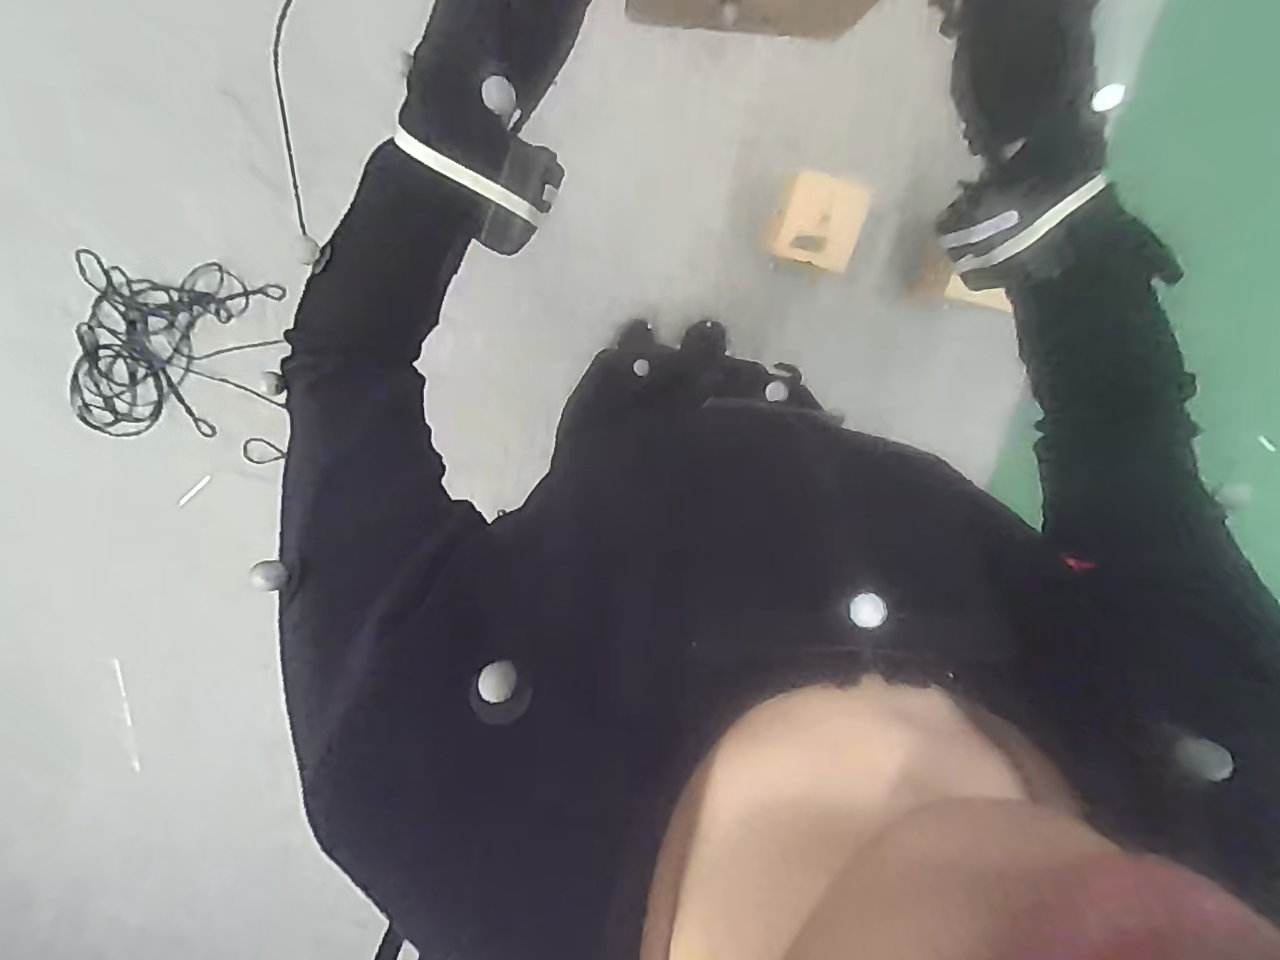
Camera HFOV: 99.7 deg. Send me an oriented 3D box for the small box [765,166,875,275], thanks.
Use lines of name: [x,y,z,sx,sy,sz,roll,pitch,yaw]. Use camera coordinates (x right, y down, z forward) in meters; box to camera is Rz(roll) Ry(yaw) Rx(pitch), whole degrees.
small box: [0.394,-0.574,1.222,0.168,0.176,0.179,15,107,-4]
